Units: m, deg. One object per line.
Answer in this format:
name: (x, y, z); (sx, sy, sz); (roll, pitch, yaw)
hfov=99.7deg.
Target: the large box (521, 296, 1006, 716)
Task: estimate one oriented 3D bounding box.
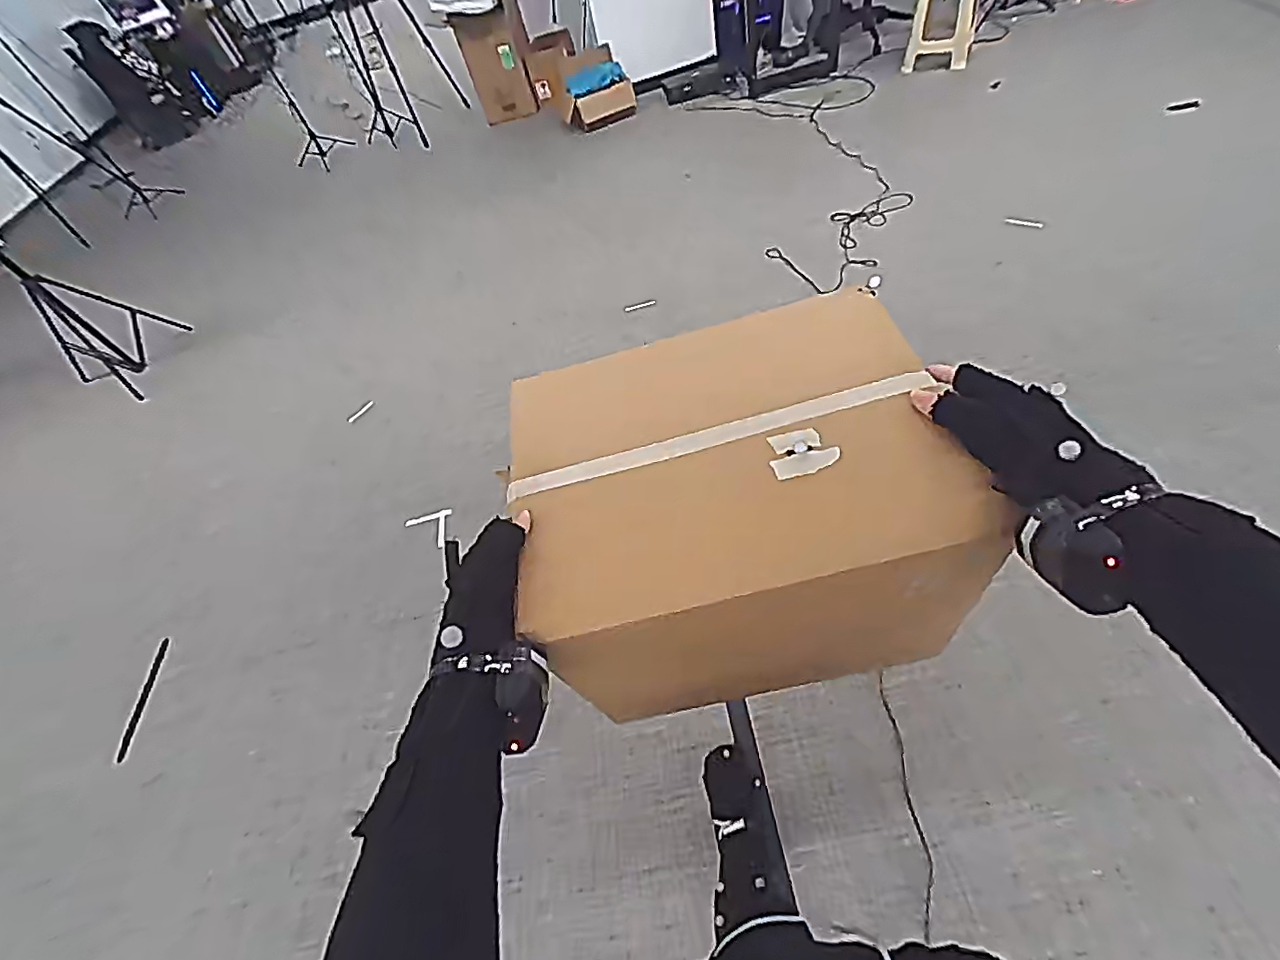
large box: (0.105, 0.048, 0.644); (0.408, 0.320, 0.320); (-15, 54, 4)
